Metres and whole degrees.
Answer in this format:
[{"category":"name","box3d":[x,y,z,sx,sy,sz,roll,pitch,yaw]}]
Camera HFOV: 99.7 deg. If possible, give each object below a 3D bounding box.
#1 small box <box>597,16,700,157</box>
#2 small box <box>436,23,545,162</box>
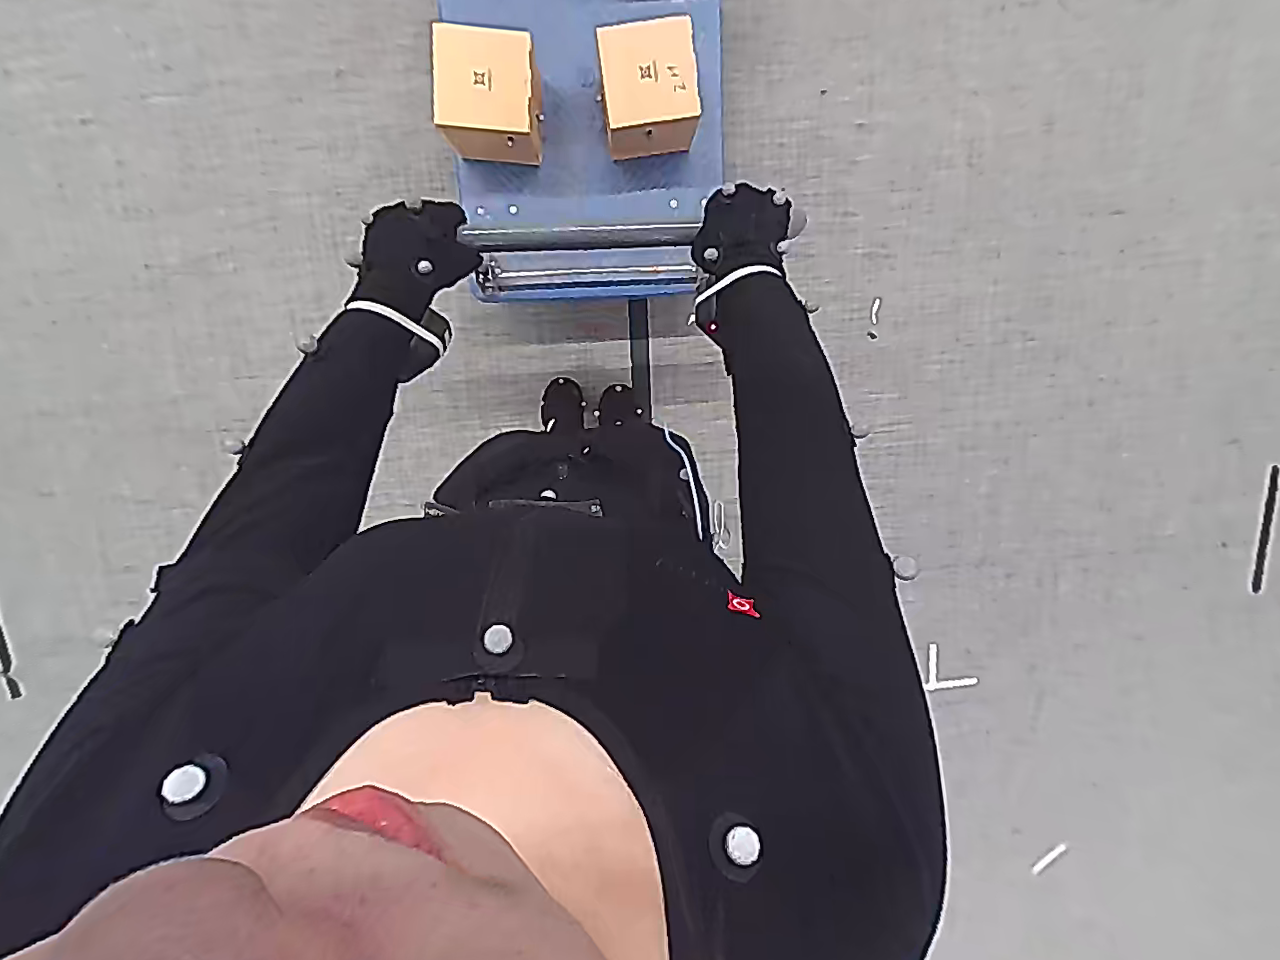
[{"category":"small box","box3d":[0.016,-0.765,1.071,0.179,0.176,0.168,-8,103,0]},{"category":"small box","box3d":[-0.287,-0.748,1.062,0.179,0.176,0.168,3,102,-4]}]
